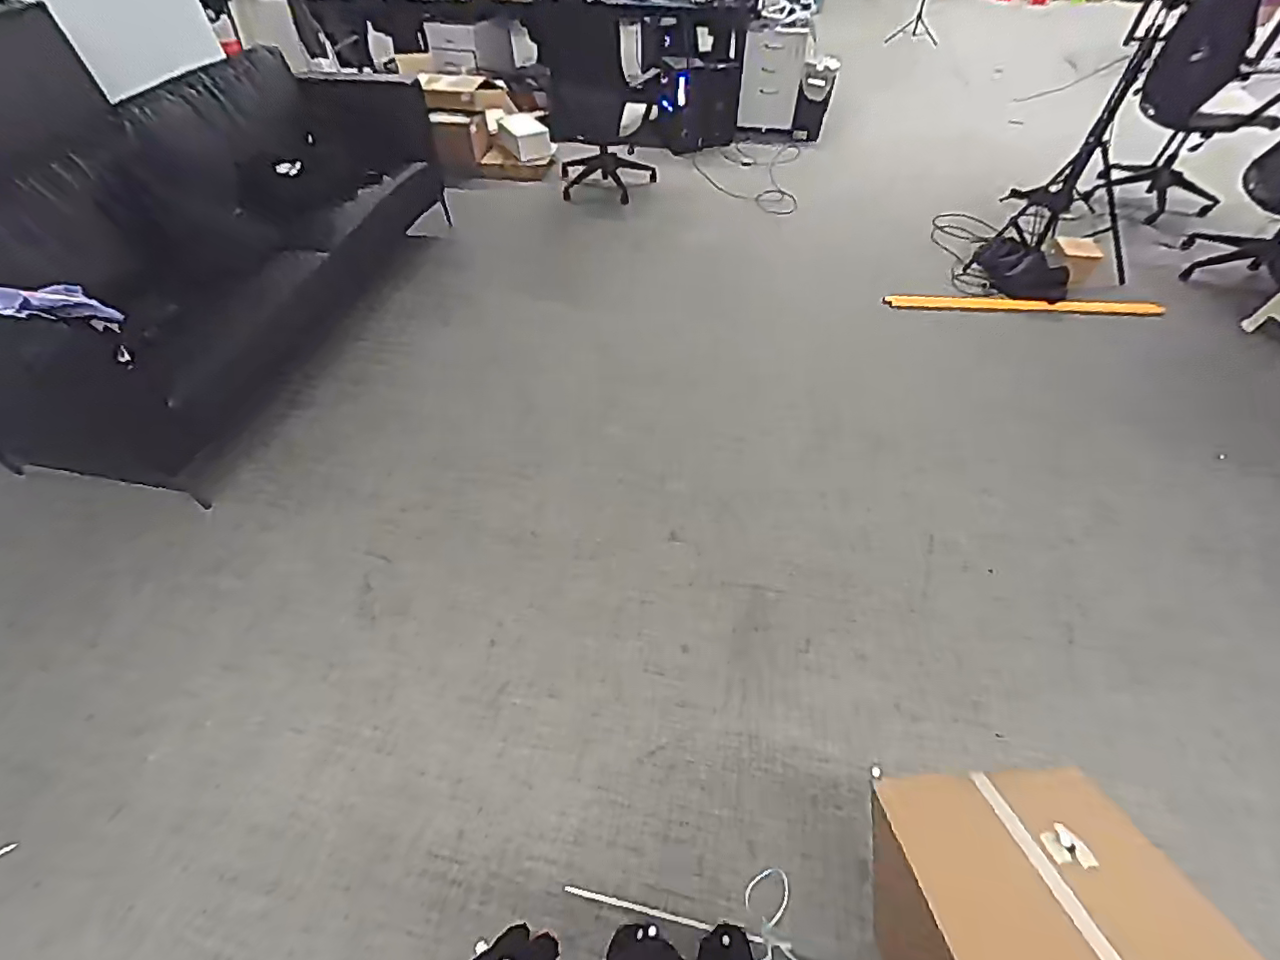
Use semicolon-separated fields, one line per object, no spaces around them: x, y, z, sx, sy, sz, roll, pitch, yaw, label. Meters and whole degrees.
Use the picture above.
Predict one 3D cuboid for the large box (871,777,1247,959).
0.527;0.665;0.684;0.320;0.320;0.408;-6;13;4;large box
